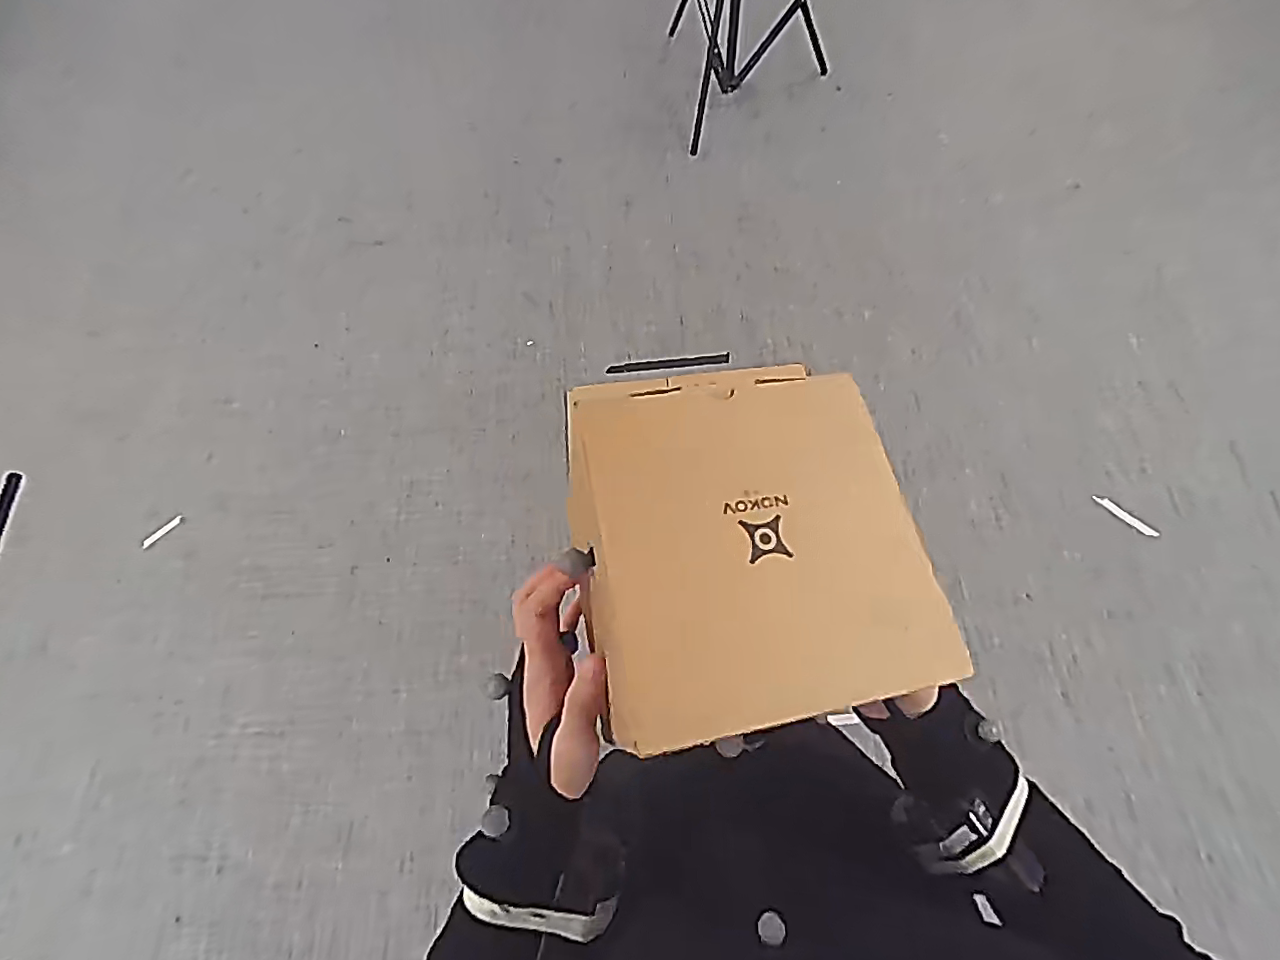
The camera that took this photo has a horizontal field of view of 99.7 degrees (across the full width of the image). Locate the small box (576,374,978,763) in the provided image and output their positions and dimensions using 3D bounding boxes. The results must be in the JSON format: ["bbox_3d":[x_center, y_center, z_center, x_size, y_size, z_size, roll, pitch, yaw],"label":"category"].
[{"bbox_3d":[0.053,0.059,0.339,0.168,0.176,0.179,-7,67,-12],"label":"small box"}]
